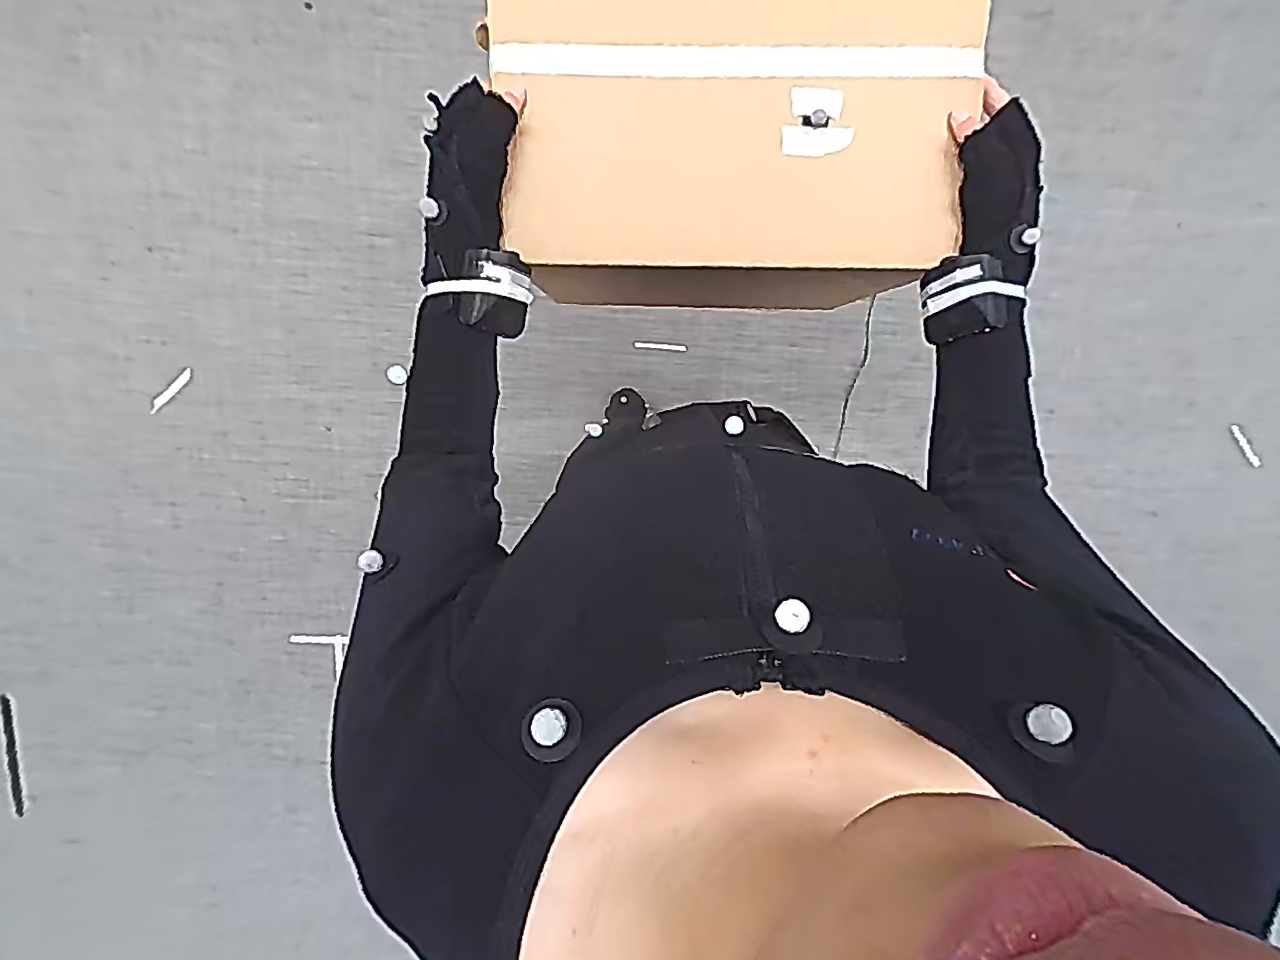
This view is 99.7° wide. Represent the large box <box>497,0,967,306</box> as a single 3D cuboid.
[{"bbox_3d":[0.074,-0.378,0.612,0.408,0.320,0.320,0,102,-1],"label":"large box"}]
